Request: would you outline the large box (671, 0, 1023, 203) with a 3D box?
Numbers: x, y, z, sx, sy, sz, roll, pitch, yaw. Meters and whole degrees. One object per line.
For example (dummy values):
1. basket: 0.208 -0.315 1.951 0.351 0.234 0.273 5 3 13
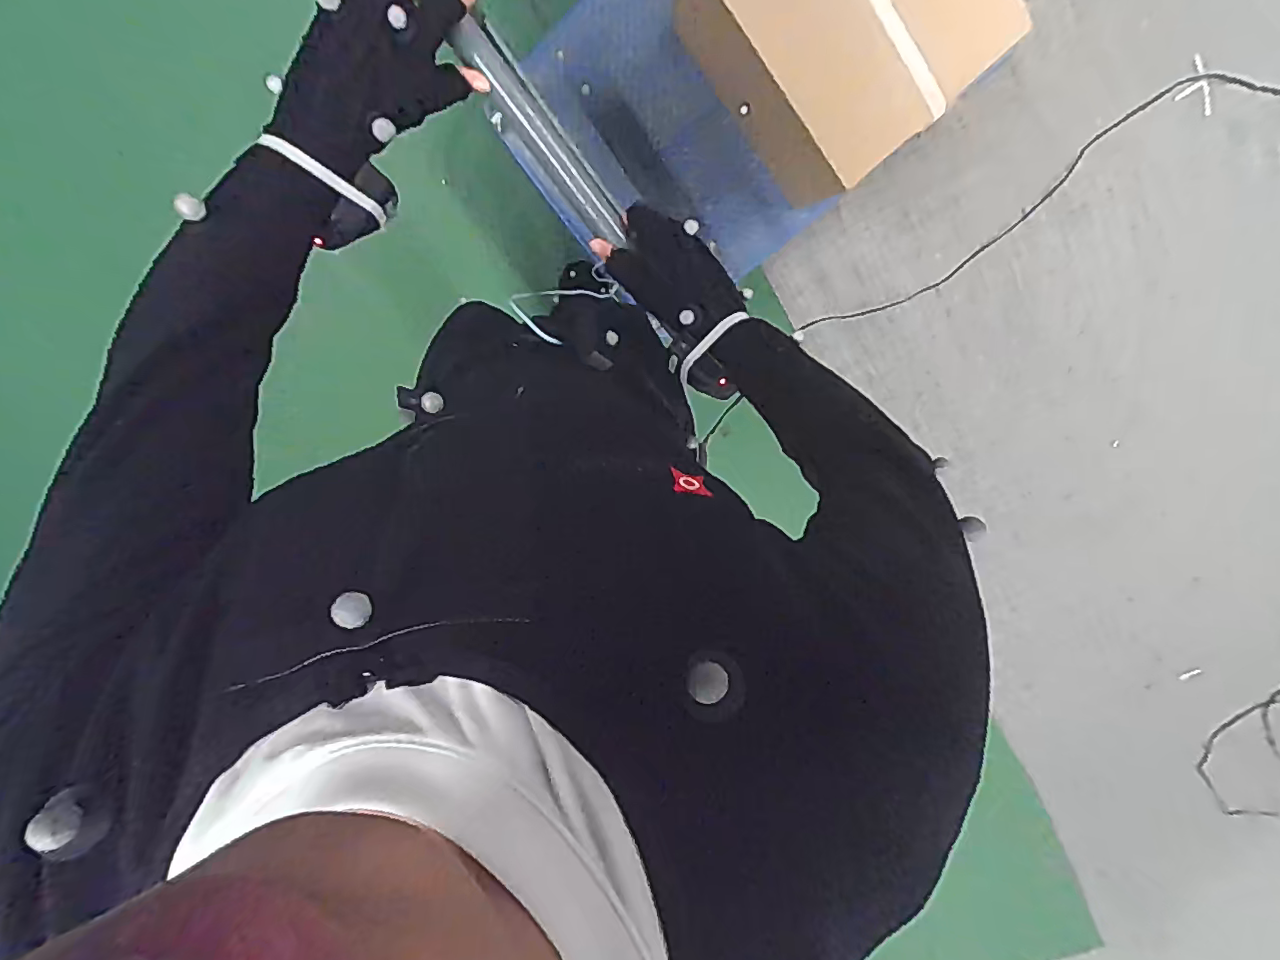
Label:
1. large box: 0.293 -0.734 0.873 0.320 0.320 0.408 -39 106 14
